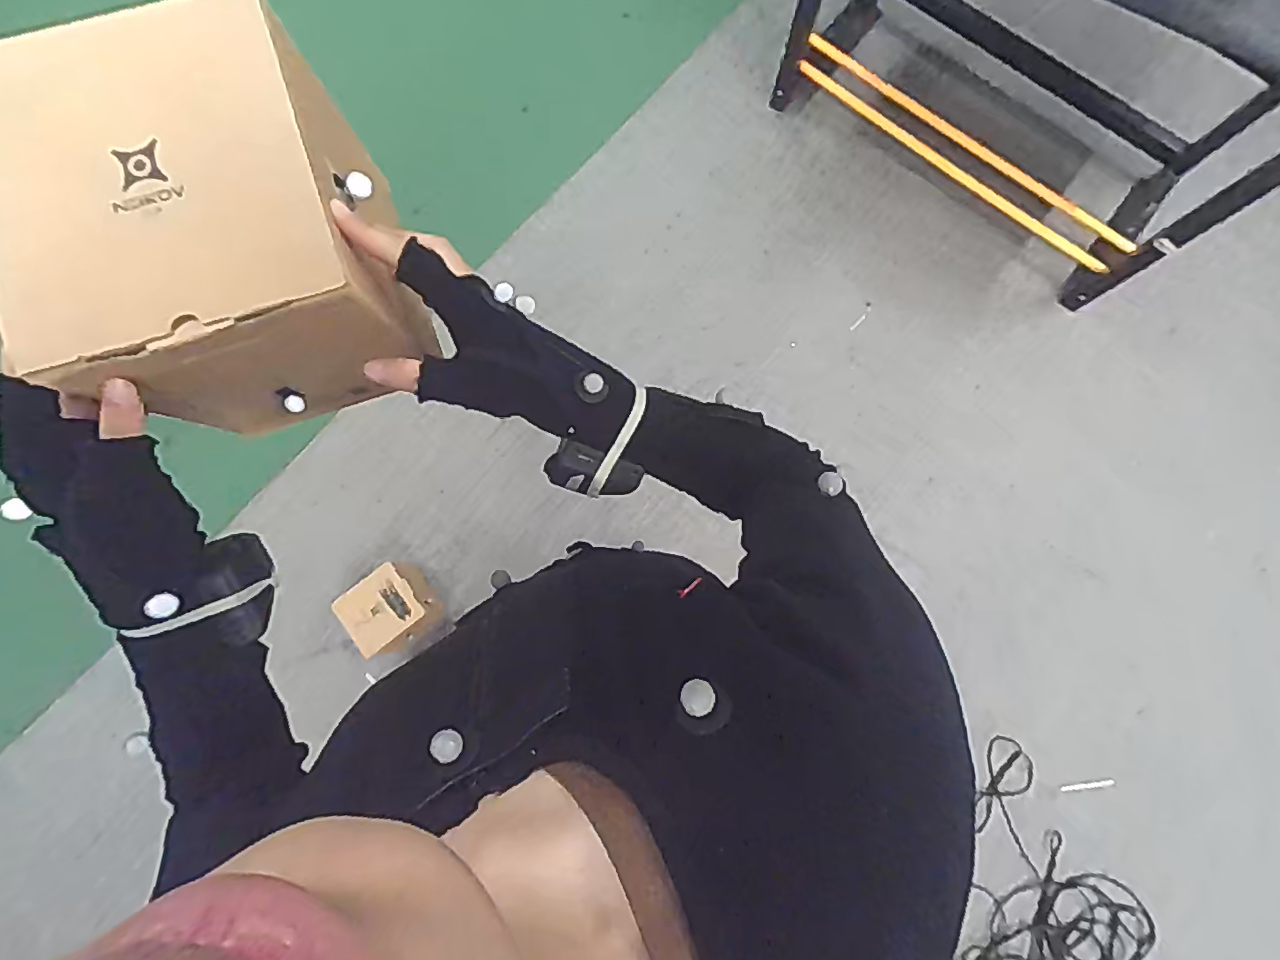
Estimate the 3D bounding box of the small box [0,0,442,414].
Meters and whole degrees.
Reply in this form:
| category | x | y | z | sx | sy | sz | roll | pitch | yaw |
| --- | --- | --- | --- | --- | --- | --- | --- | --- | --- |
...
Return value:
| category | x | y | z | sx | sy | sz | roll | pitch | yaw |
| --- | --- | --- | --- | --- | --- | --- | --- | --- | --- |
| small box | -0.251 | -0.160 | 0.350 | 0.168 | 0.176 | 0.179 | -17 | 87 | -5 |
